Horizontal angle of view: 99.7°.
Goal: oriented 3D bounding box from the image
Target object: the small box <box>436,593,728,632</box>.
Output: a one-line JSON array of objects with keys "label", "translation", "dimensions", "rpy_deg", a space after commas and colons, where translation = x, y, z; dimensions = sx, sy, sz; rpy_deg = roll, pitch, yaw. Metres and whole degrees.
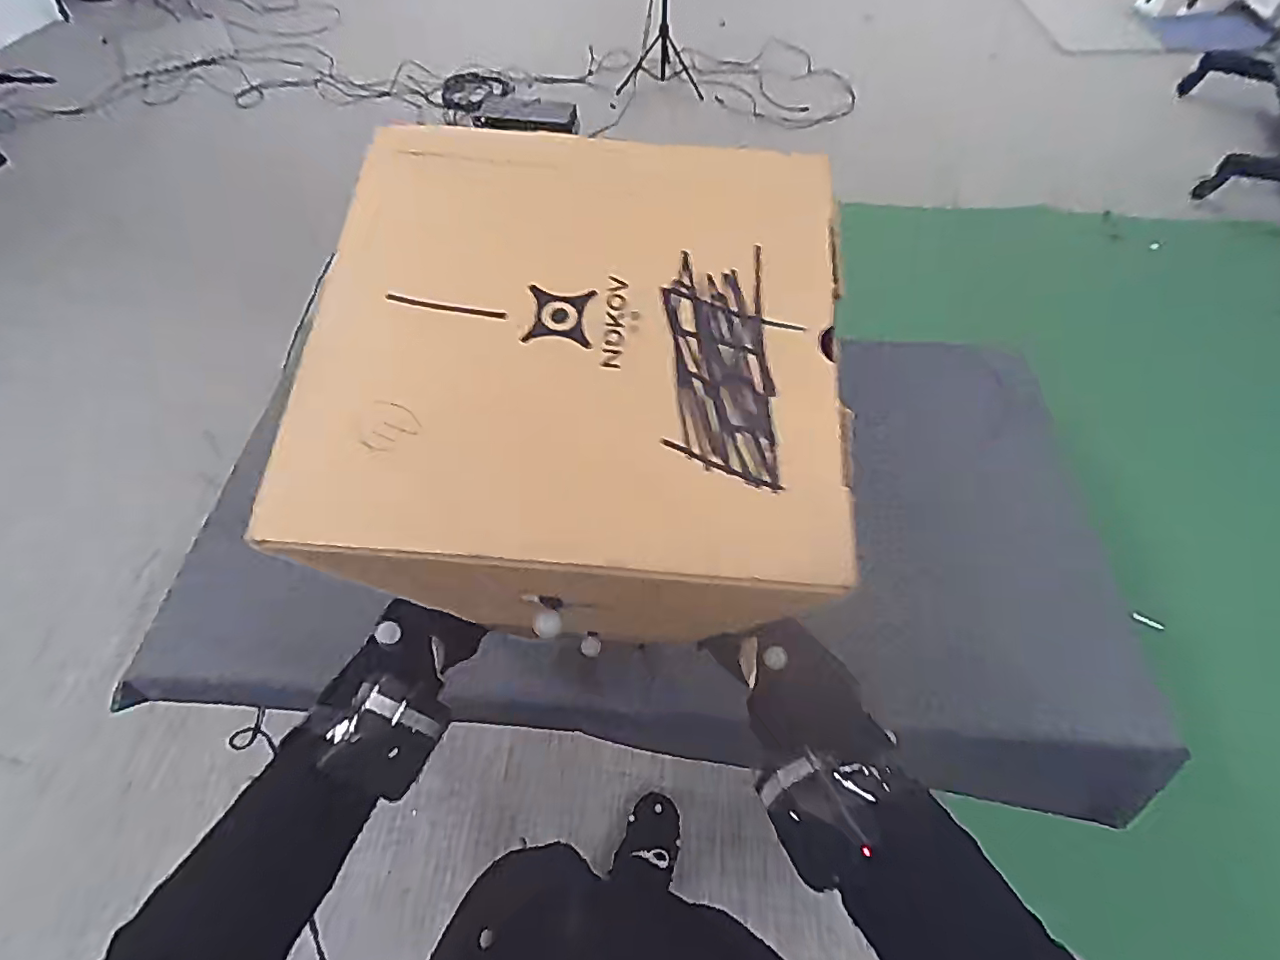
[{"label": "small box", "translation": [-0.036, 0.027, 0.420], "dimensions": [0.179, 0.176, 0.168], "rpy_deg": [1, 71, -2]}]

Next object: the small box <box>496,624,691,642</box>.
[{"label": "small box", "translation": [-0.041, 0.080, 0.574], "dimensions": [0.179, 0.176, 0.168], "rpy_deg": [2, 70, 0]}]

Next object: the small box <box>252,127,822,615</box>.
[{"label": "small box", "translation": [-0.028, -0.028, 0.264], "dimensions": [0.179, 0.176, 0.168], "rpy_deg": [4, 70, 0]}]
